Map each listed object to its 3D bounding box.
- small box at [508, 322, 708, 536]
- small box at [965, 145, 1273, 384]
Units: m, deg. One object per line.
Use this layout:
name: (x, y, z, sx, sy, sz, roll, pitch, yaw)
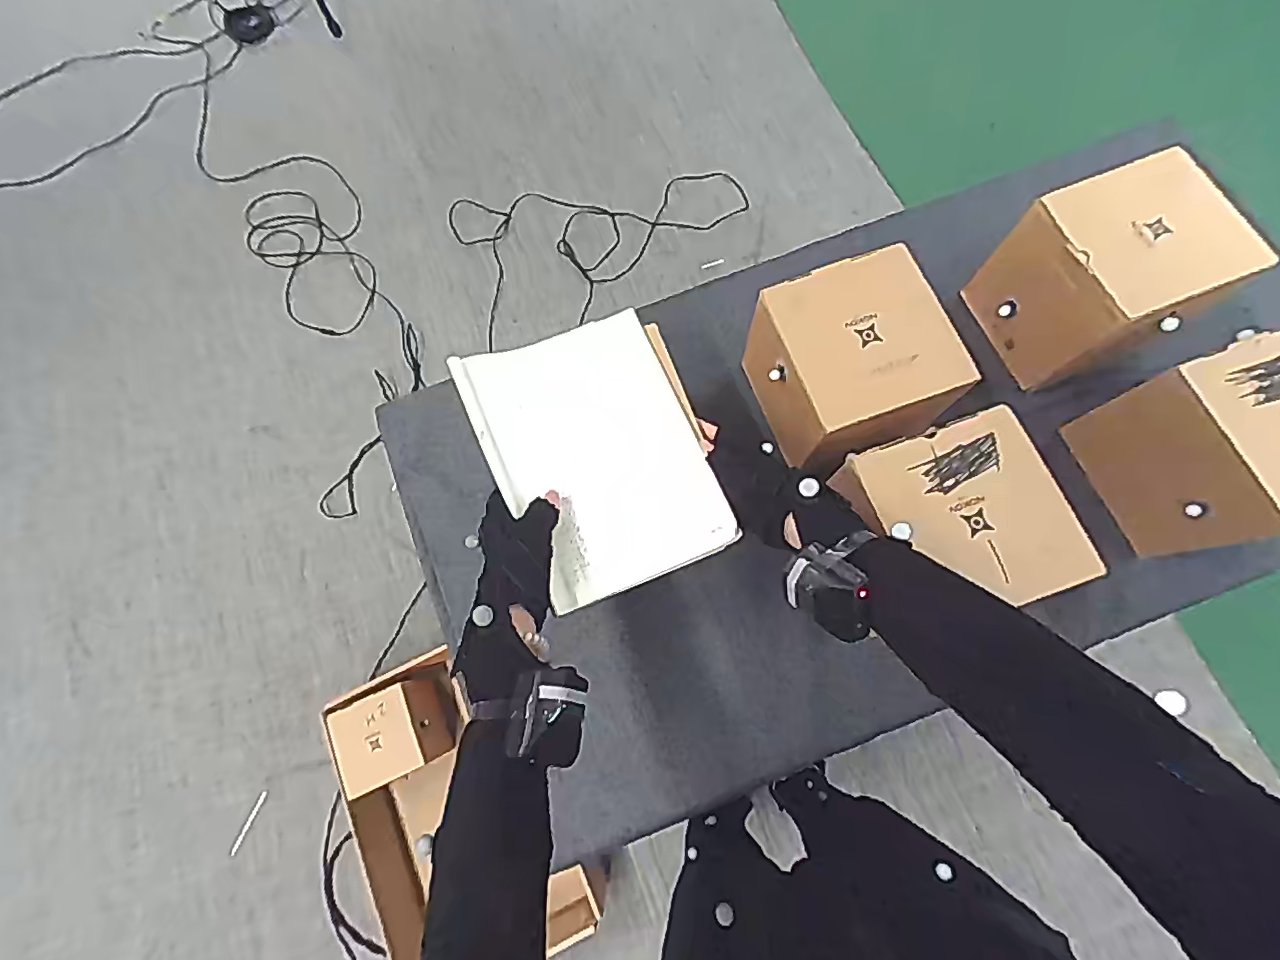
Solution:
small box: (-0.030, -0.043, 0.620, 0.168, 0.176, 0.179, -19, 74, -2)
small box: (0.539, -0.242, 0.641, 0.179, 0.176, 0.168, -21, 74, -2)
